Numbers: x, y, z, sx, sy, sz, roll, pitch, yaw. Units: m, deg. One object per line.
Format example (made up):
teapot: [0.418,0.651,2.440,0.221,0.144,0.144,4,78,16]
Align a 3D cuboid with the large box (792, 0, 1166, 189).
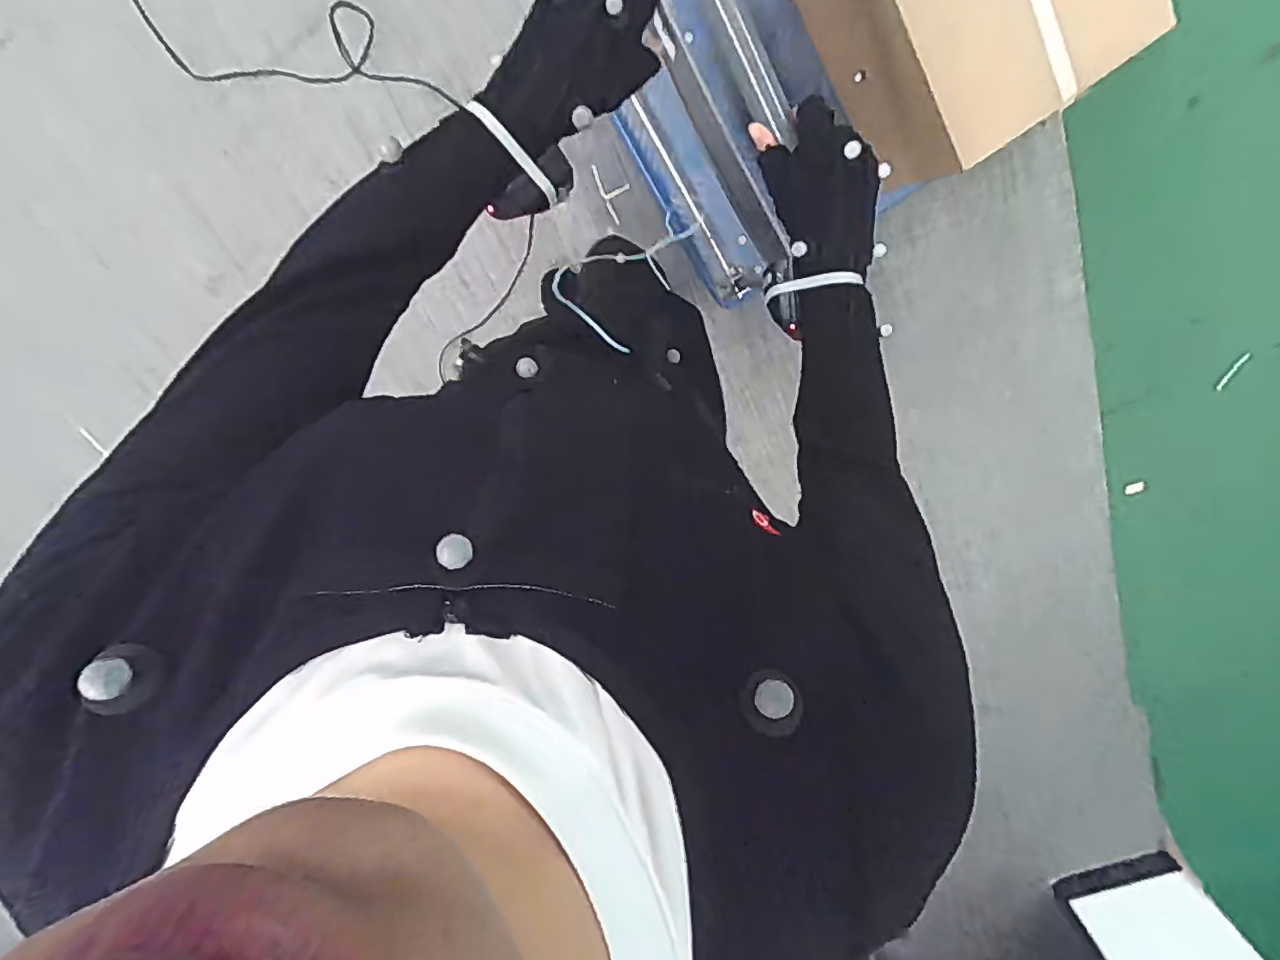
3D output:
large box: [0.493,-0.750,0.856,0.320,0.320,0.408,-32,109,13]
